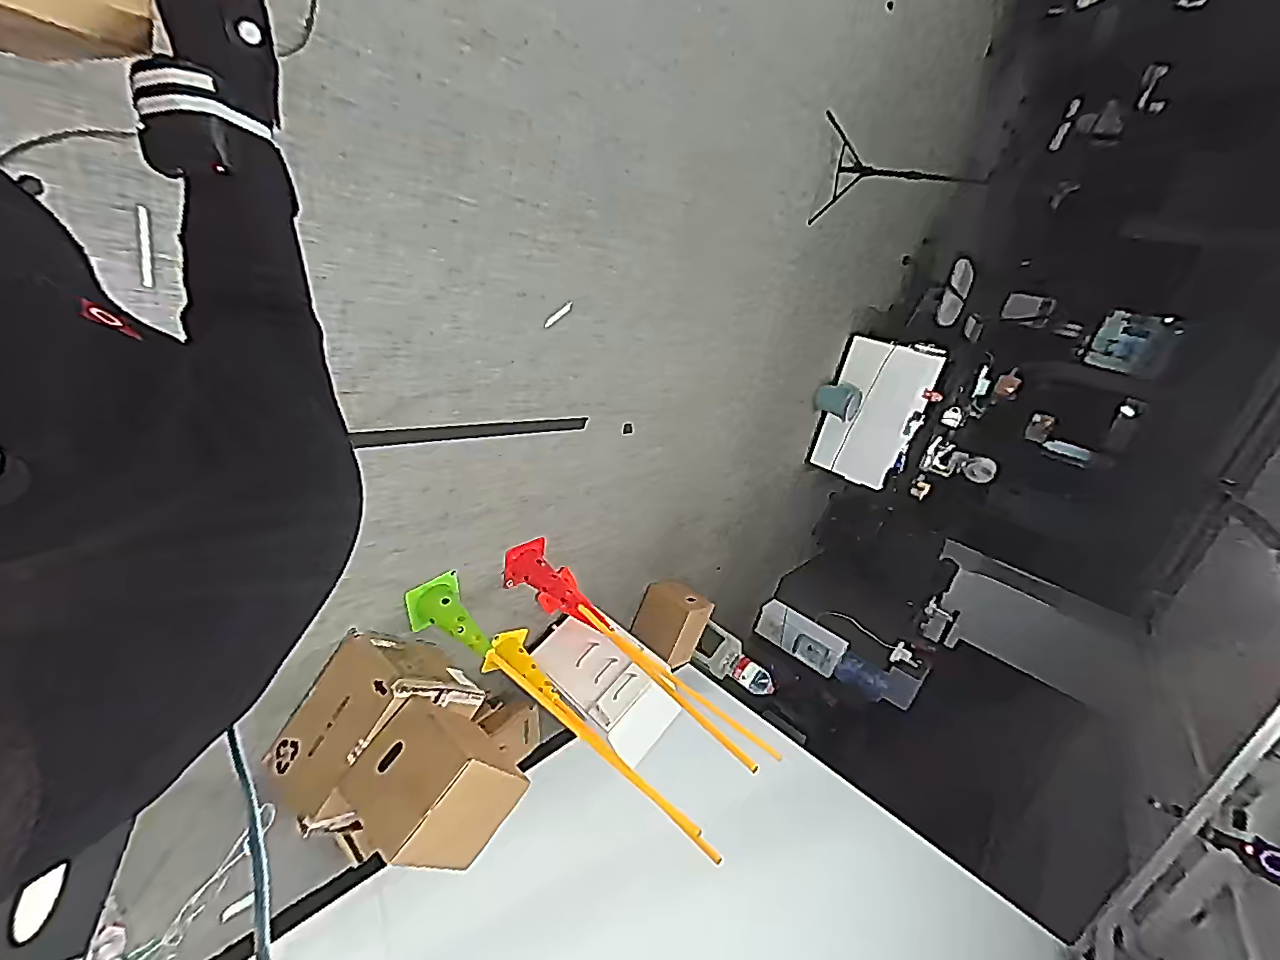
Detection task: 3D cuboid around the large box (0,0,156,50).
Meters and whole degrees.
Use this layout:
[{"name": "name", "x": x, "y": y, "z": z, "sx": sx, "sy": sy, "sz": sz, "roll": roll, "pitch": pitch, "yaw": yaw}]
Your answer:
[{"name": "large box", "x": -0.546, "y": -0.464, "z": 0.244, "sx": 0.408, "sy": 0.320, "sz": 0.320, "roll": -17, "pitch": 127, "yaw": -54}]
